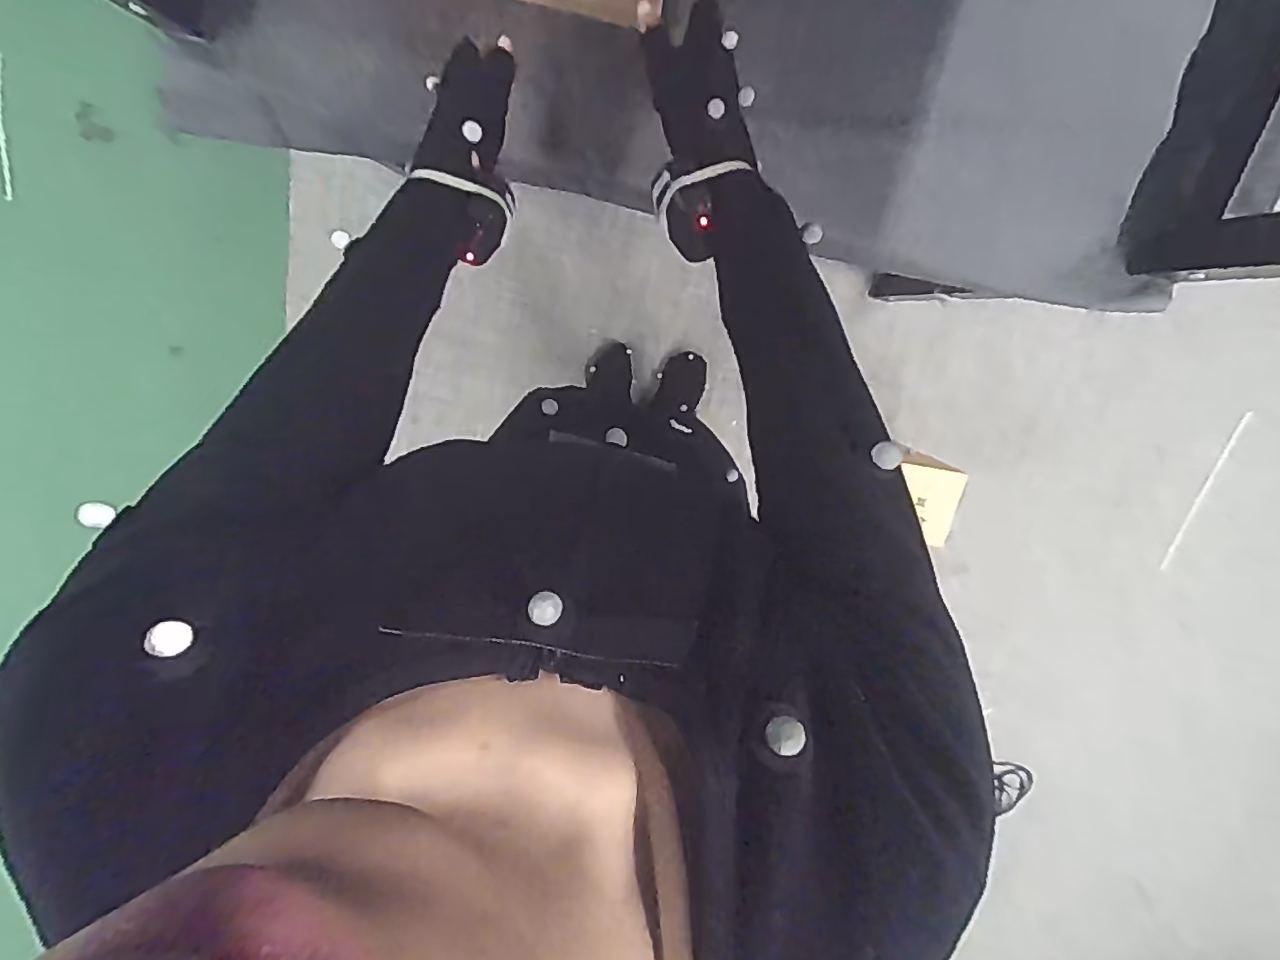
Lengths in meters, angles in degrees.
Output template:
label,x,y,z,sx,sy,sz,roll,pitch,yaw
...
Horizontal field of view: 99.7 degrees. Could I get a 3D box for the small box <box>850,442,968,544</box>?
label,x,y,z,sx,sy,sz,roll,pitch,yaw
small box,0.606,0.024,1.248,0.168,0.176,0.179,10,106,-3
